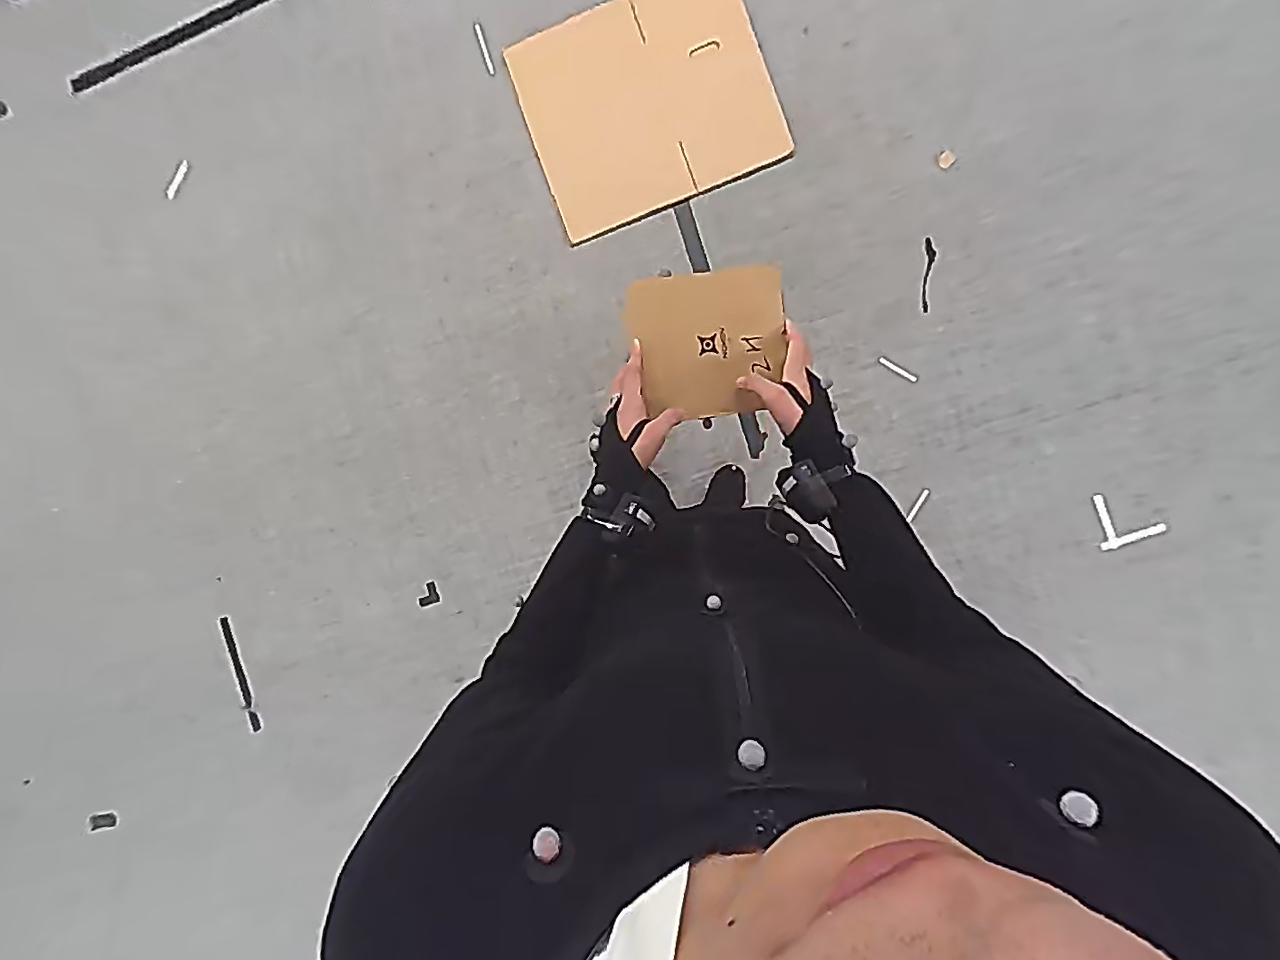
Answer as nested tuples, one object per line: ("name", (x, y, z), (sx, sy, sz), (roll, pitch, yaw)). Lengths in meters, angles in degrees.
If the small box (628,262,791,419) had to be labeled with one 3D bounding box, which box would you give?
("small box", (0.079, -0.170, 0.705), (0.179, 0.176, 0.168), (-8, 98, -4))
